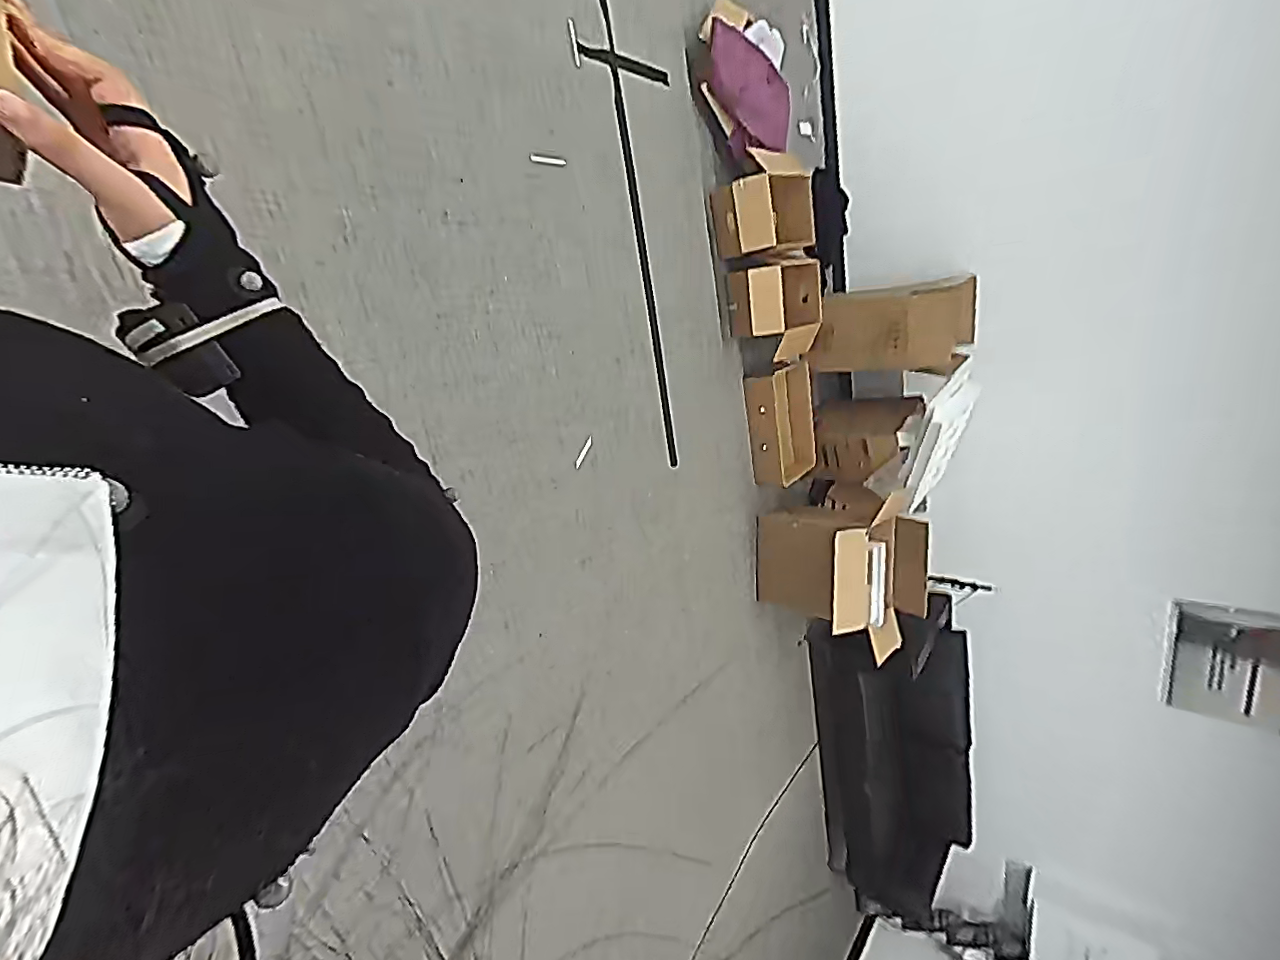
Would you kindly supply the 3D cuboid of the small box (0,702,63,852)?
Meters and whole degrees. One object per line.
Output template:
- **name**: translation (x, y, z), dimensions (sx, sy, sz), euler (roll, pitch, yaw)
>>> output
- **small box**: translation (-1.079, 0.498, 0.877), dimensions (0.168, 0.176, 0.179), euler (-21, 109, -45)

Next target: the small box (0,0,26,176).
- **small box**: translation (-0.440, -0.278, 0.264), dimensions (0.168, 0.176, 0.179), euler (-11, 107, -47)
